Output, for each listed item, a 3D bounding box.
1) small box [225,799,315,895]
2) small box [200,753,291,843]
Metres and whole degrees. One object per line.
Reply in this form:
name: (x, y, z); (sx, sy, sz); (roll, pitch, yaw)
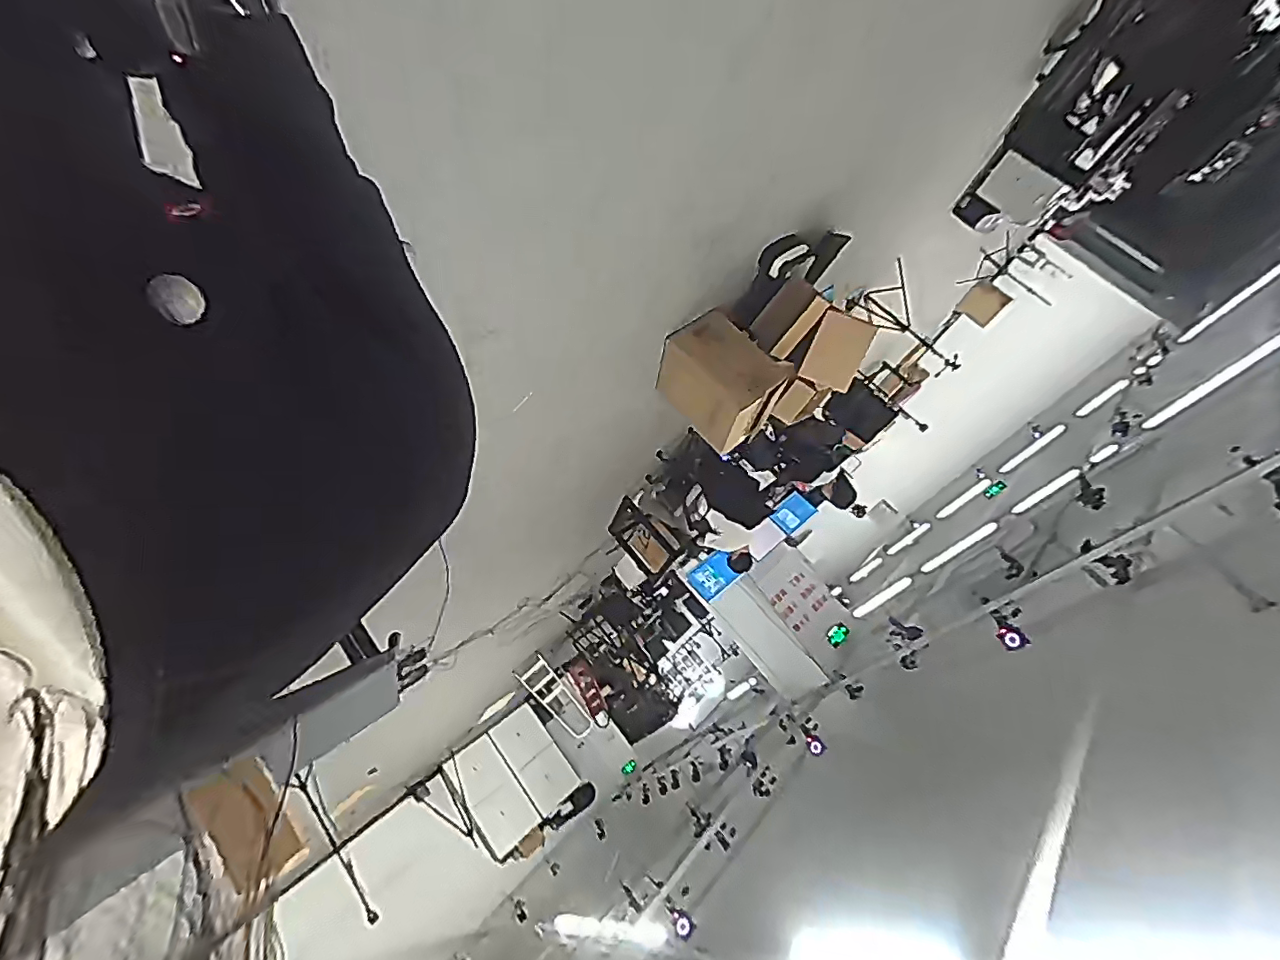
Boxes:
small box: (-1.130, 1.118, 1.649); (0.179, 0.176, 0.168); (-28, 160, -37)
small box: (-1.231, 0.995, 1.688); (0.179, 0.176, 0.168); (-31, 162, -36)
